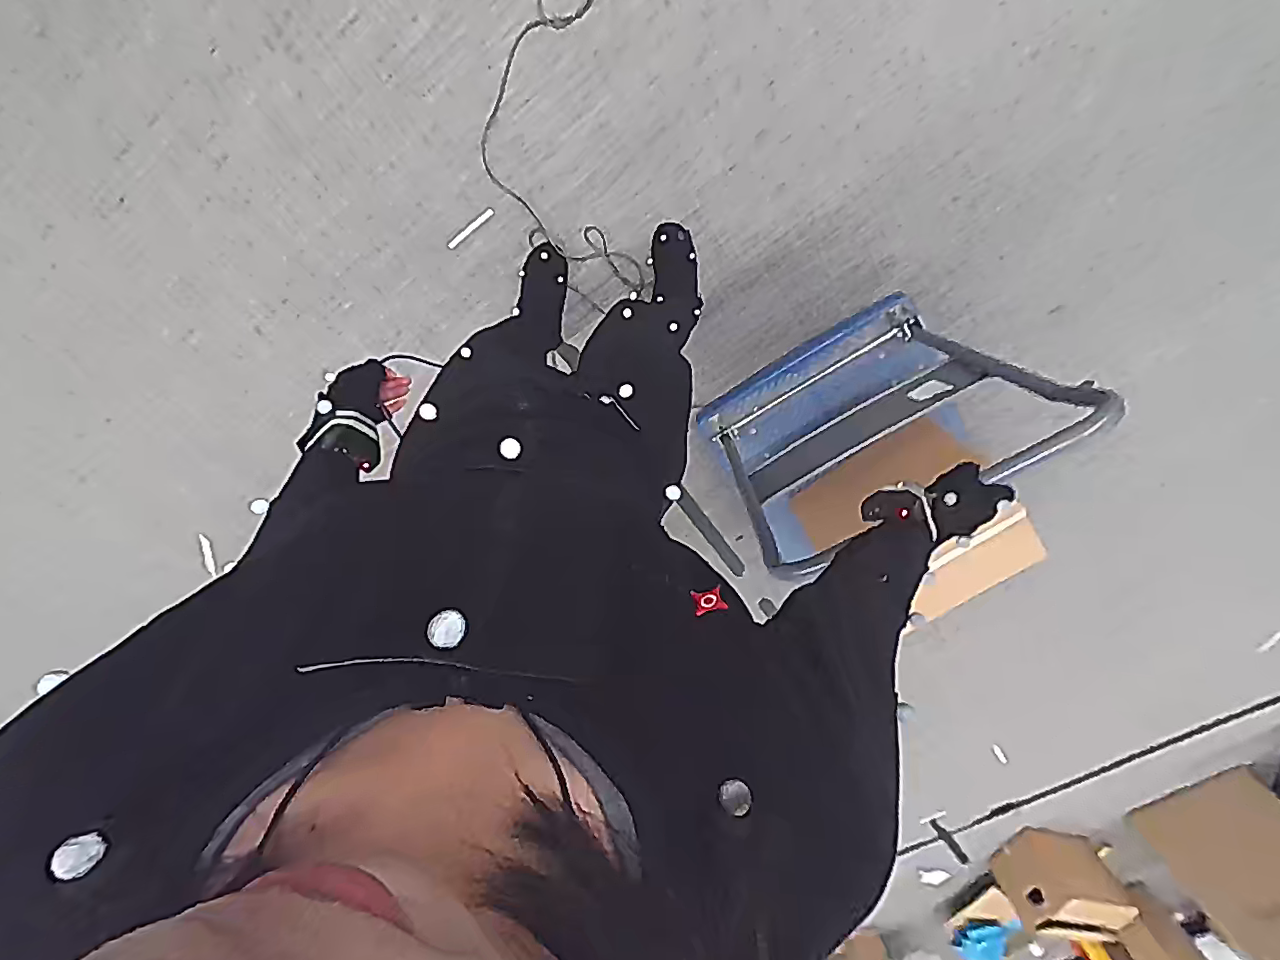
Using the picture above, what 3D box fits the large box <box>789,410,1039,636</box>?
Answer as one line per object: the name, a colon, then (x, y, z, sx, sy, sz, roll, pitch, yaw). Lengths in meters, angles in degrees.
large box: (0.654, 0.102, 1.351, 0.408, 0.320, 0.320, -37, 113, 17)
